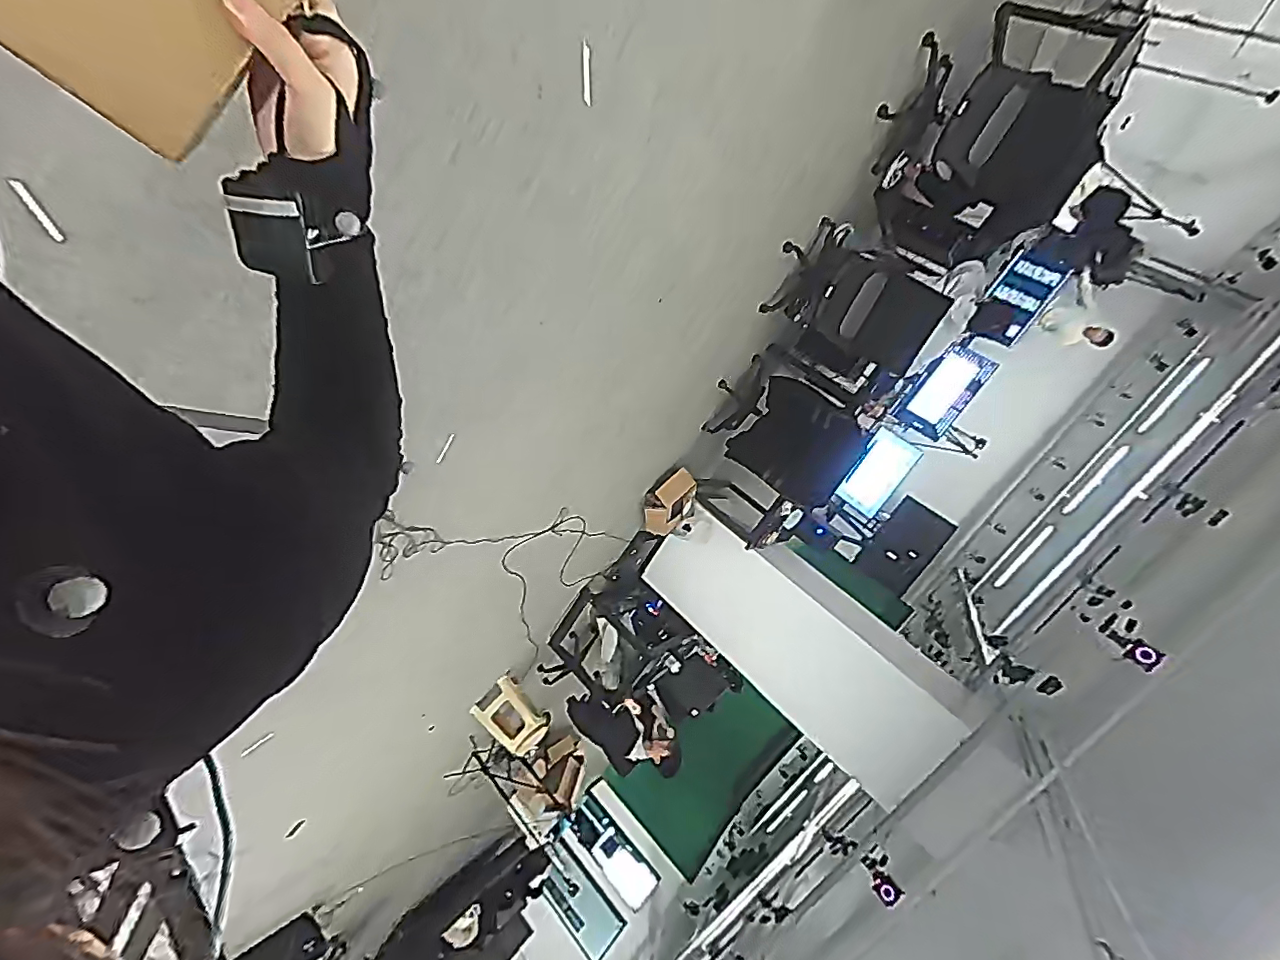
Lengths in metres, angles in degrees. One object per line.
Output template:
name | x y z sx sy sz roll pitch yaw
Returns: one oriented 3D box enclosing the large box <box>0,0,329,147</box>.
large box | -0.358 -0.466 0.282 0.320 0.320 0.408 -50 134 4
